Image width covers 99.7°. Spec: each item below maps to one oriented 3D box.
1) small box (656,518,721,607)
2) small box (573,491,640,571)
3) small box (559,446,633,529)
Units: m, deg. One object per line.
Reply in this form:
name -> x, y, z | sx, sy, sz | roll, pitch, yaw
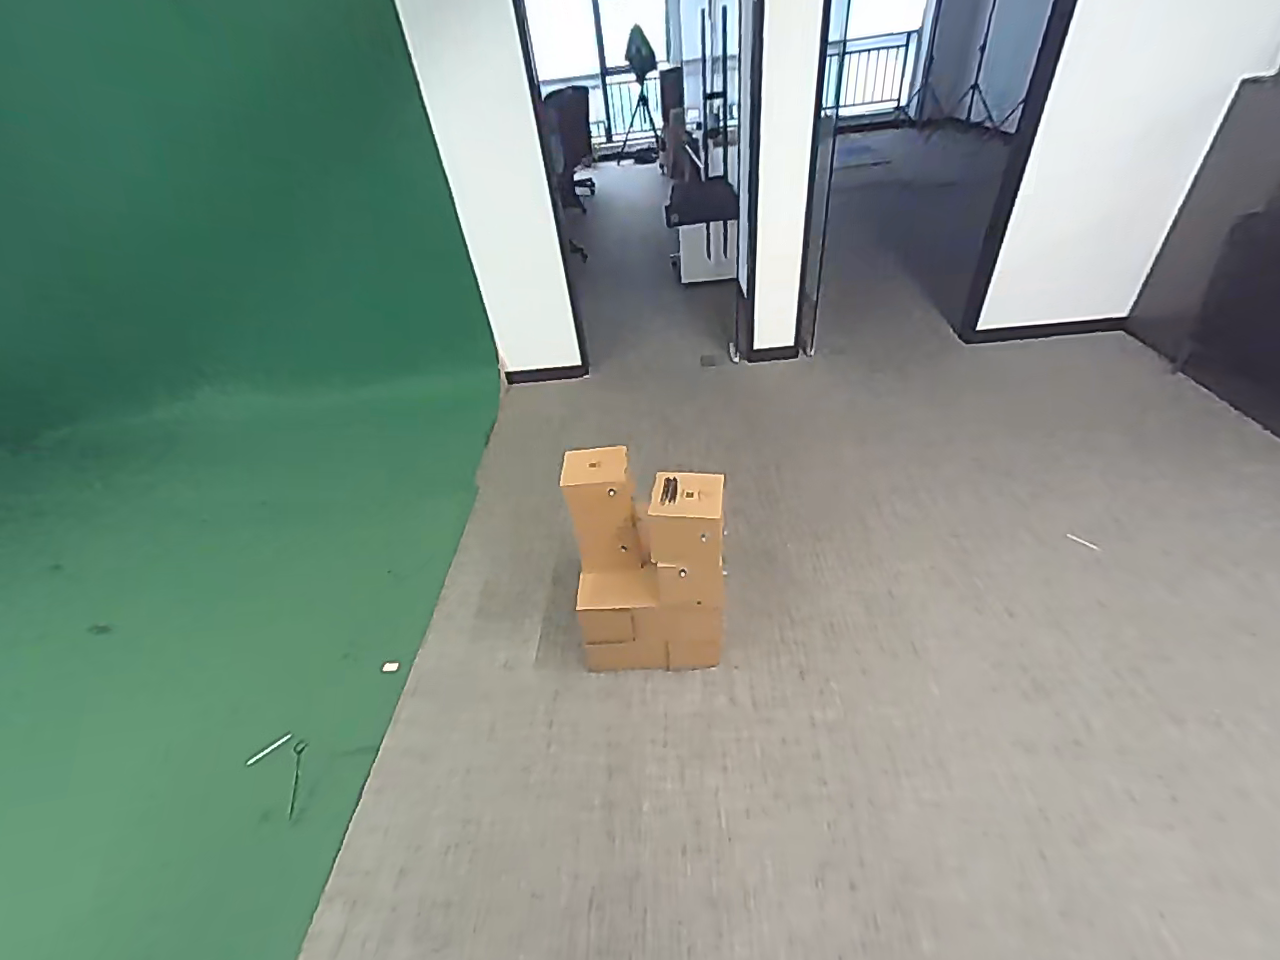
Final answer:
small box -> 0.136, 0.224, 1.478 | 0.168, 0.176, 0.179 | -1, 38, 7
small box -> -0.093, 0.152, 1.609 | 0.179, 0.176, 0.168 | -6, 37, 3
small box -> -0.116, 0.023, 1.513 | 0.179, 0.176, 0.168 | -4, 37, 3
